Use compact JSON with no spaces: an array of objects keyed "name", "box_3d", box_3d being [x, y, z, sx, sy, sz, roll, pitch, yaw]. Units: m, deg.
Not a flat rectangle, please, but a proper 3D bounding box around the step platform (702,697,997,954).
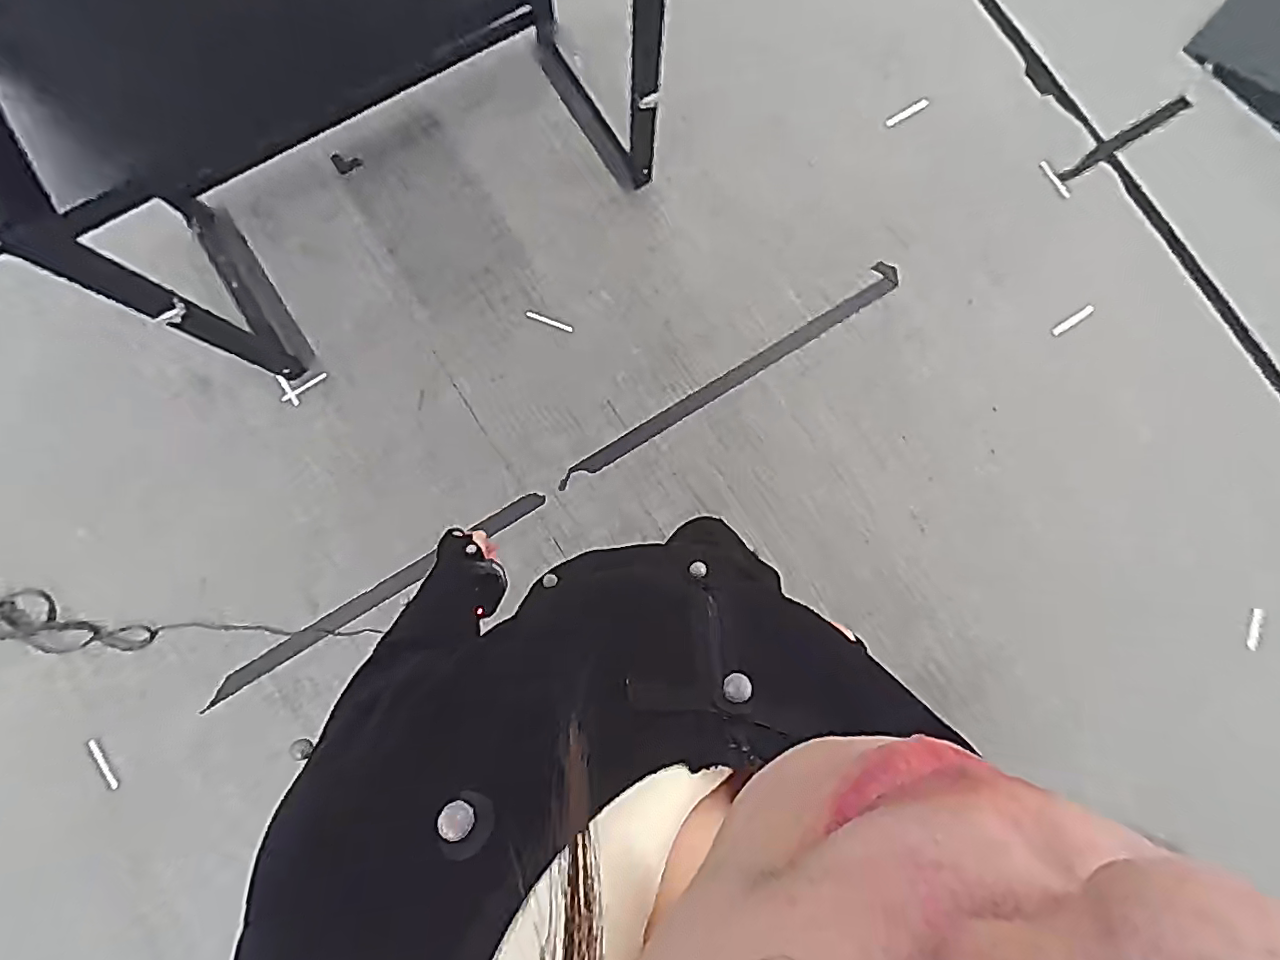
[{"name":"step platform","box_3d":[0.509,0.833,1.344,0.684,0.204,0.286,-26,86,-5]}]
